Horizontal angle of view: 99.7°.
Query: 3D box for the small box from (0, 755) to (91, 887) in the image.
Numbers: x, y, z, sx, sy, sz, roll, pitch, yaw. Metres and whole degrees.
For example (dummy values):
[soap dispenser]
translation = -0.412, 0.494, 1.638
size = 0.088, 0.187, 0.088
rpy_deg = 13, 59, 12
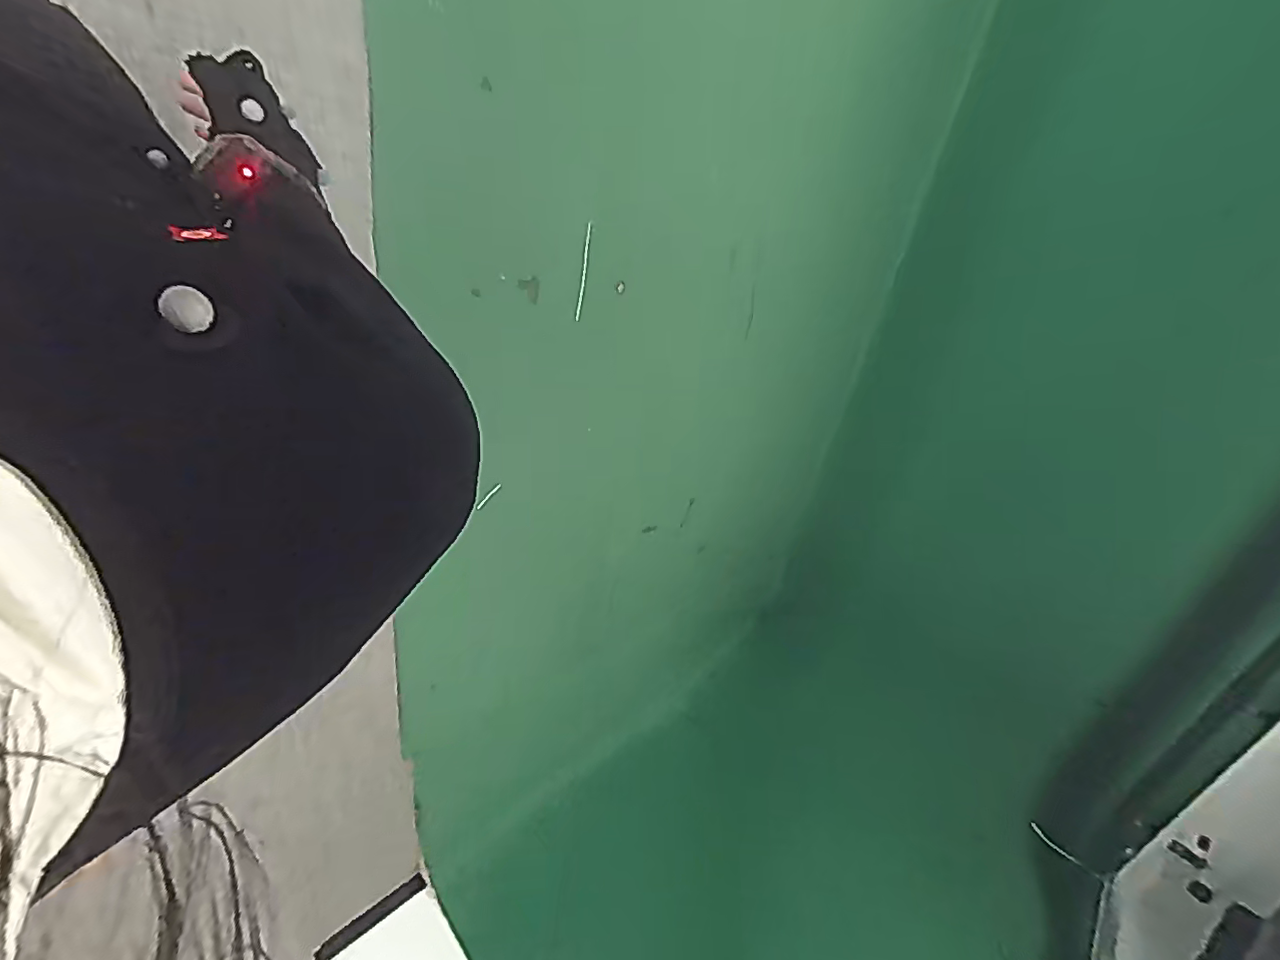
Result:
[small box]
translation = -1.452, 0.806, 1.284
size = 0.179, 0.176, 0.168
rpy_deg = -17, 129, -42
